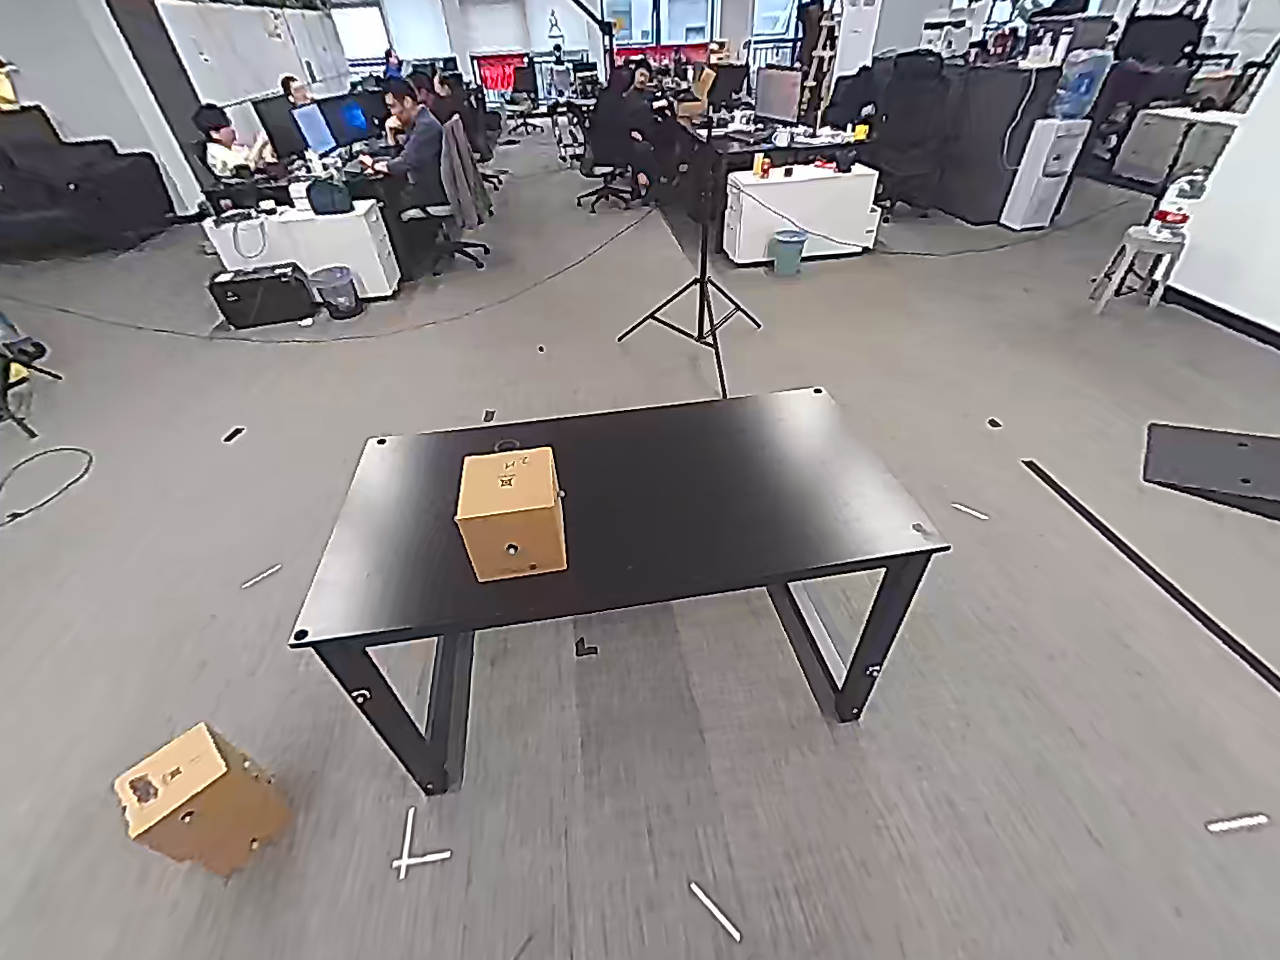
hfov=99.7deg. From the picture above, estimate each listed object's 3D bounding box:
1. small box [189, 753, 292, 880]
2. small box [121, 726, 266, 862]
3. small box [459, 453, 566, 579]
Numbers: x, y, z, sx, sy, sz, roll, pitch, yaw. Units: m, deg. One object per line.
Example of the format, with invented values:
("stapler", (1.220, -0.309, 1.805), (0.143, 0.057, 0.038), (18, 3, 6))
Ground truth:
("small box", (-0.994, 0.824, 1.328), (0.168, 0.176, 0.179), (27, 47, 31))
("small box", (-0.993, 0.704, 1.212), (0.168, 0.176, 0.179), (29, 49, 32))
("small box", (-0.235, 0.073, 1.036), (0.168, 0.176, 0.179), (-7, 40, -6))
